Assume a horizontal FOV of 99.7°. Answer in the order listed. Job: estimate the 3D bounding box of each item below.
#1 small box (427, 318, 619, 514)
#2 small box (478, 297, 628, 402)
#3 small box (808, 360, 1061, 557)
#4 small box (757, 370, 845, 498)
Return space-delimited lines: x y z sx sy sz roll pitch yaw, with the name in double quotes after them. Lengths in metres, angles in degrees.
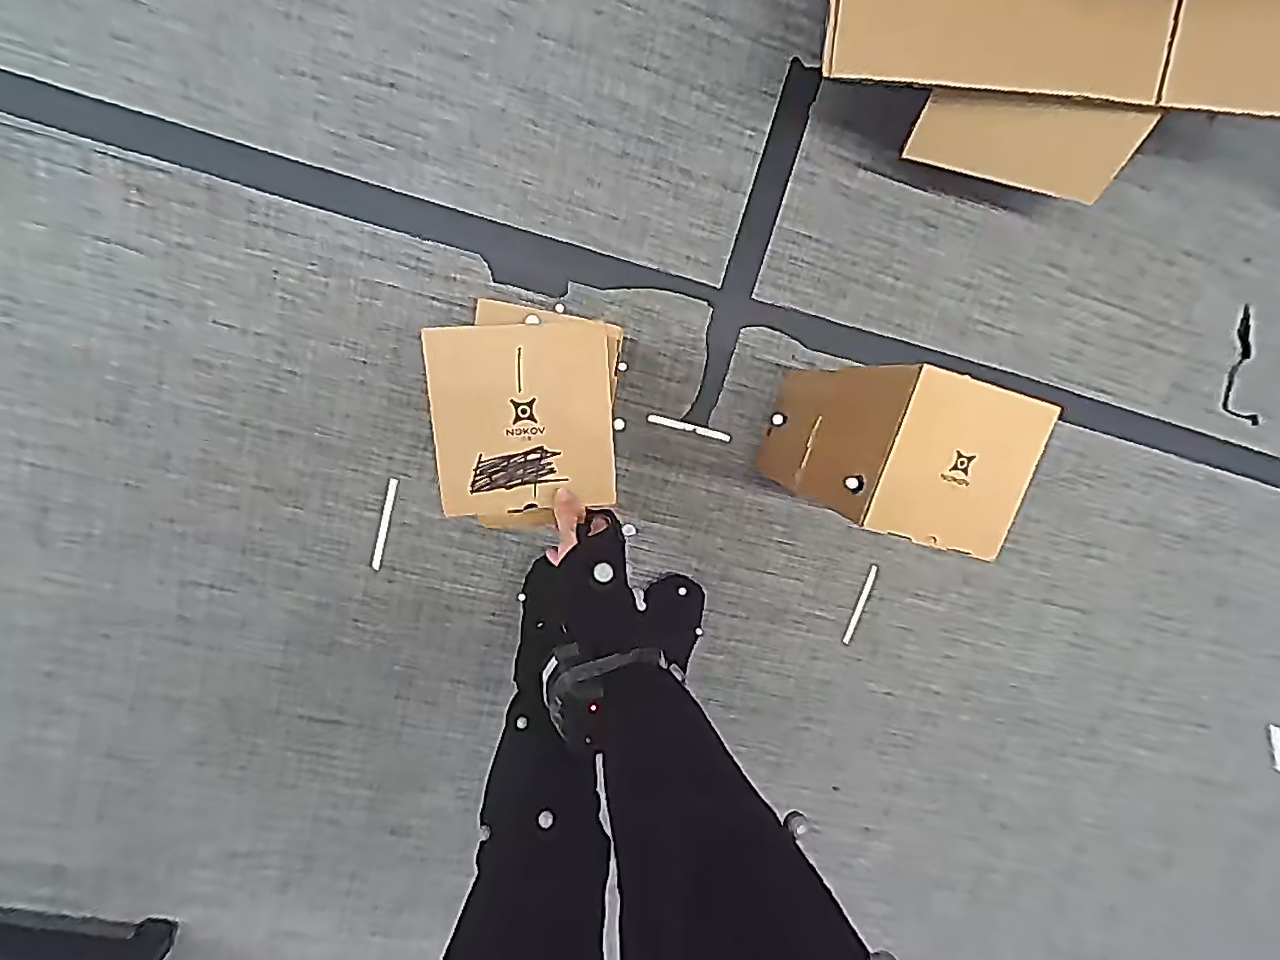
-0.110 -0.073 0.573 0.168 0.176 0.179 -4 102 -6 "small box"
-0.121 -0.138 0.727 0.179 0.176 0.168 9 100 -7 "small box"
0.322 -0.035 0.631 0.168 0.176 0.179 14 101 -10 "small box"
0.300 -0.058 0.790 0.179 0.176 0.168 19 100 -11 "small box"
